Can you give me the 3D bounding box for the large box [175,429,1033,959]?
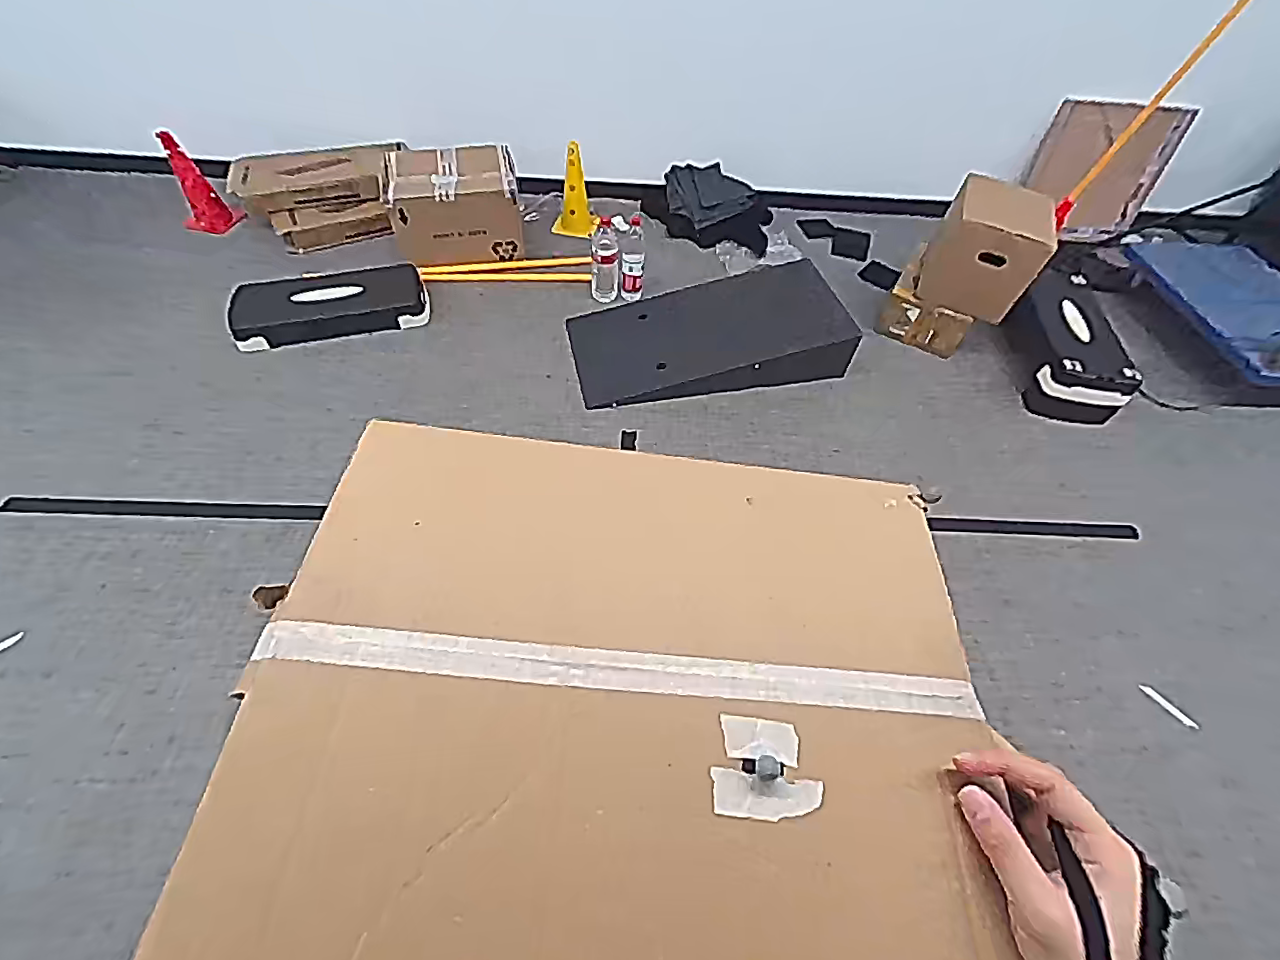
[{"bbox_3d":[-0.016,0.192,0.445,0.408,0.320,0.320,8,56,-5],"label":"large box"}]
